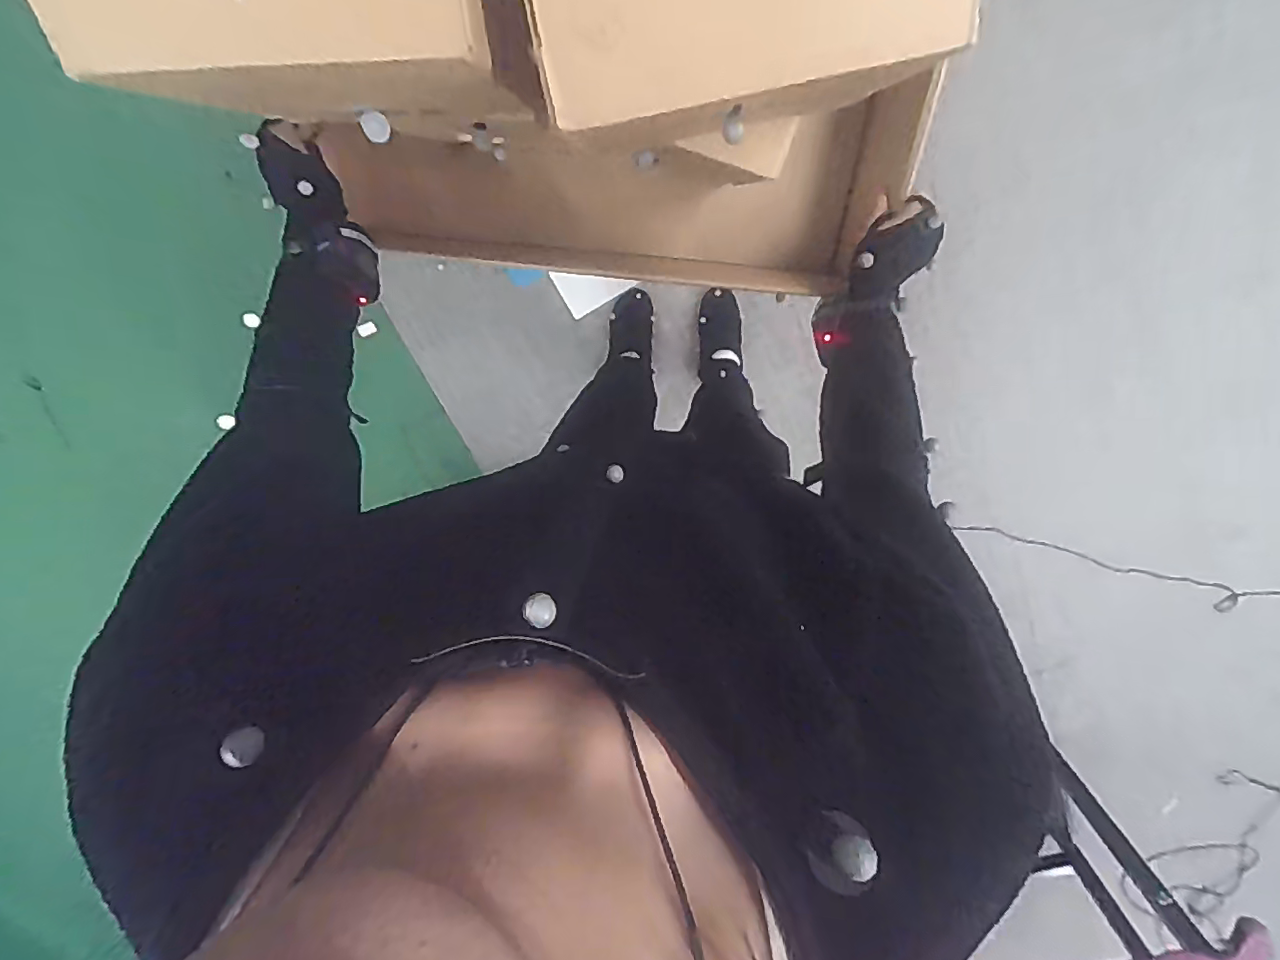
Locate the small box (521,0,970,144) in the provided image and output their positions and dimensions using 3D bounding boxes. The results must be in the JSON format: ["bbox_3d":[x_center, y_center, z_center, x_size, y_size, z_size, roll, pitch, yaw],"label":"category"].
[{"bbox_3d":[0.035,-0.275,0.258,0.179,0.176,0.168,-7,117,6],"label":"small box"}]
